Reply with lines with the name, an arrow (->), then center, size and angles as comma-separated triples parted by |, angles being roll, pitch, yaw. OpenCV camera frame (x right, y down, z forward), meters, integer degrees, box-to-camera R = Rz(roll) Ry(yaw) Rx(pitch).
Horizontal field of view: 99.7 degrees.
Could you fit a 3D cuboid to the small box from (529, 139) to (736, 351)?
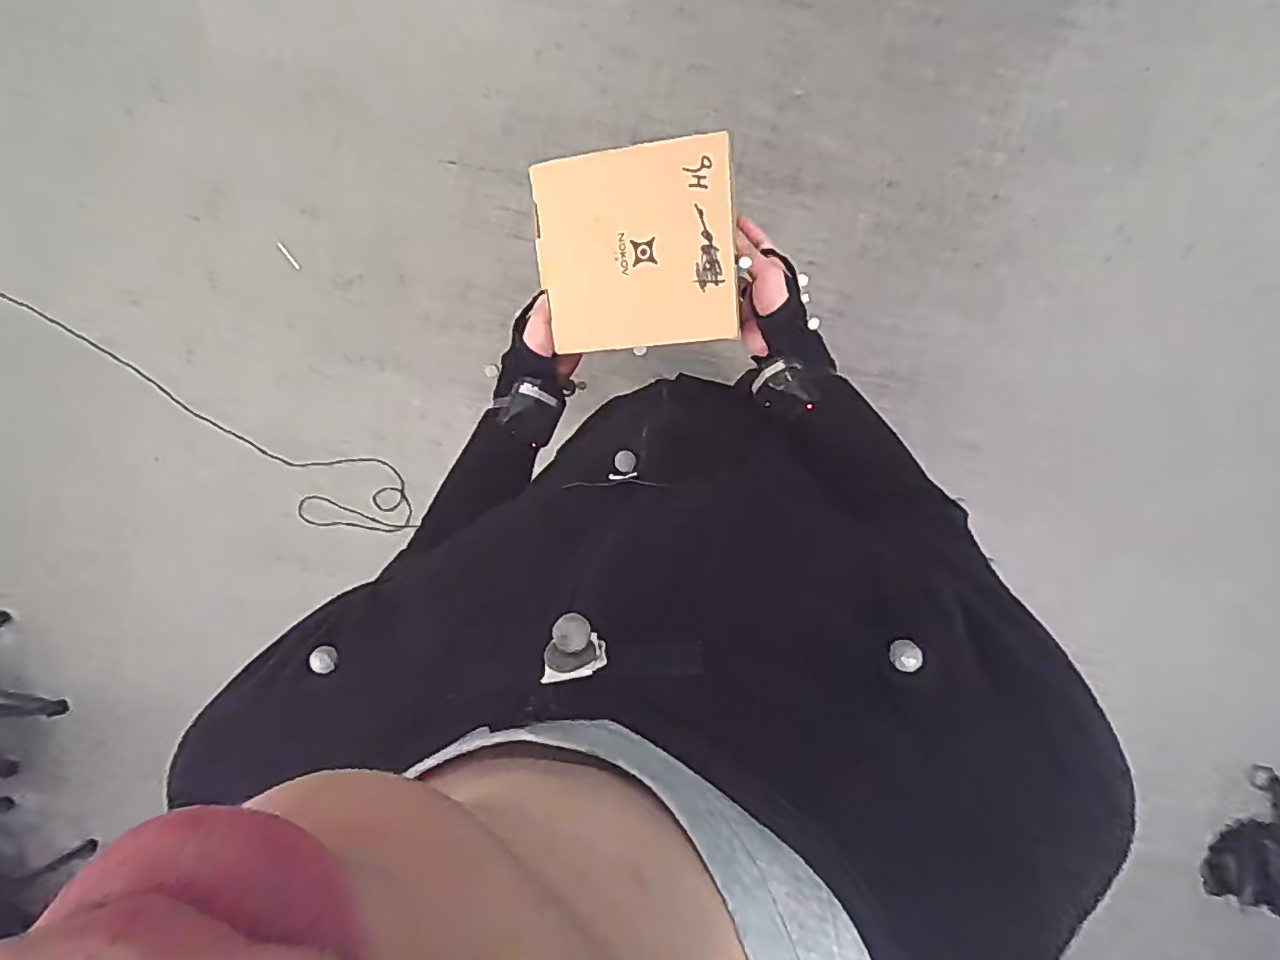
small box -> 0.007, -0.226, 0.557 | 0.179, 0.176, 0.168 | -1, 109, 12
